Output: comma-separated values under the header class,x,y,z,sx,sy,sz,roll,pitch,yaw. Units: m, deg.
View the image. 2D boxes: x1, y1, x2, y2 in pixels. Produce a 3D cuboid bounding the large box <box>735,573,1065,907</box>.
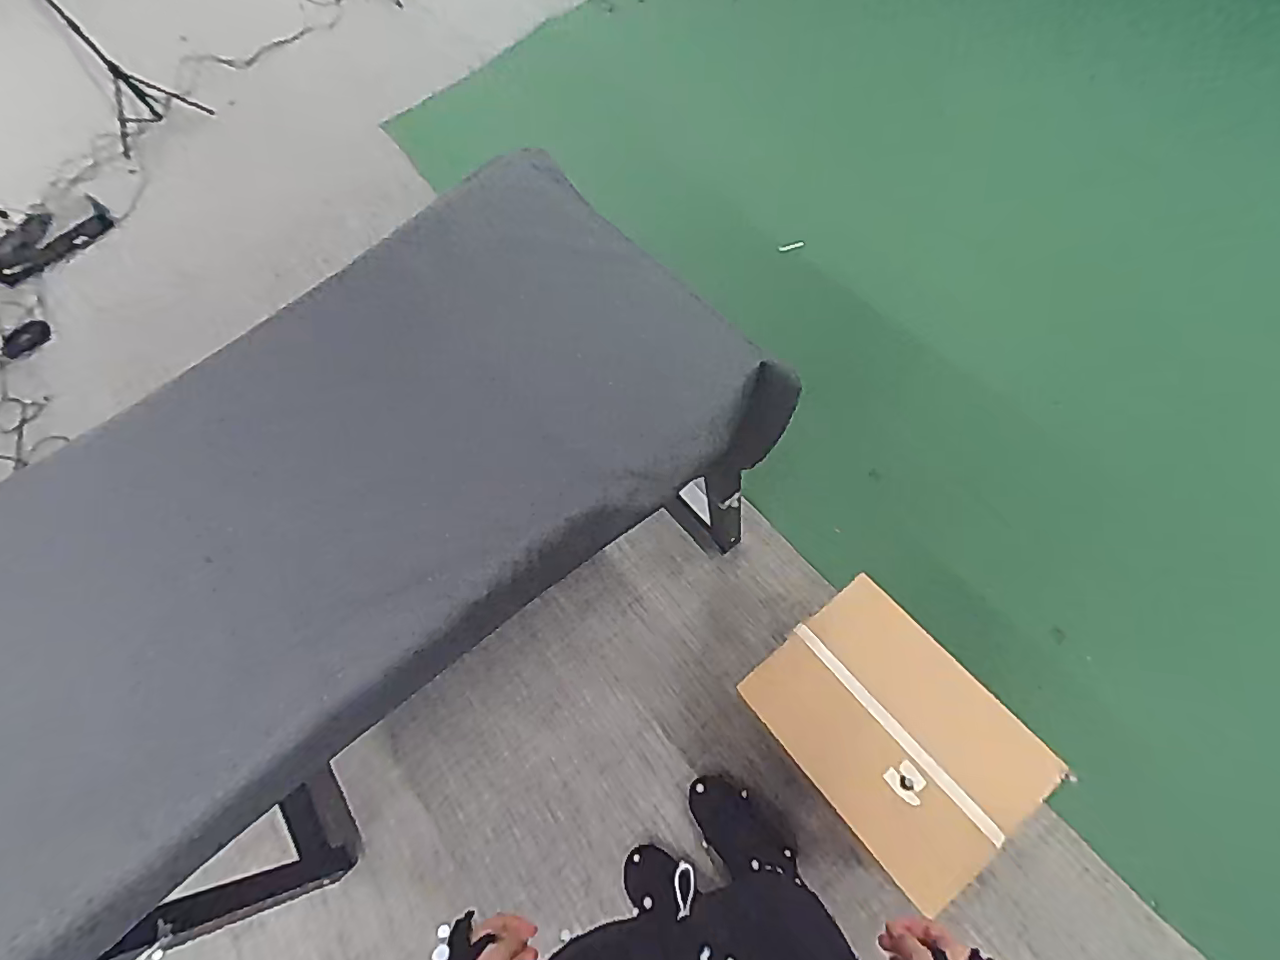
class,x,y,z,sx,sy,sz,roll,pitch,yaw
large box,0.427,0.450,1.008,0.320,0.320,0.408,-39,66,-9
